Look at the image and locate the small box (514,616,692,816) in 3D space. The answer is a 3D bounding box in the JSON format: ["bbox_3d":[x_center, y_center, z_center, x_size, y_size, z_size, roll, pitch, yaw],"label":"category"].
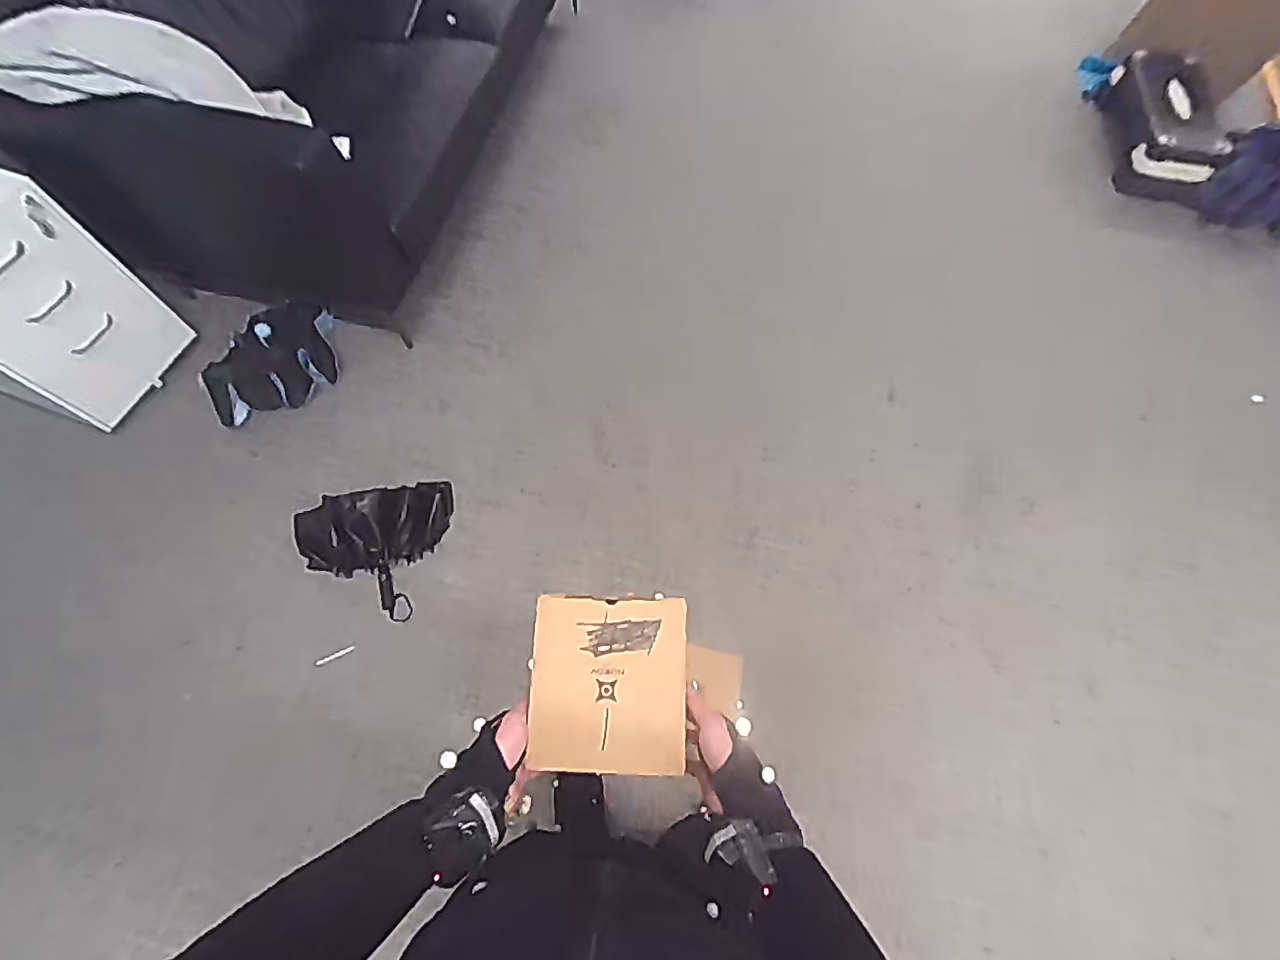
[{"bbox_3d":[-0.034,0.254,0.615,0.168,0.176,0.179,4,74,2],"label":"small box"}]

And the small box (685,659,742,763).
[{"bbox_3d":[0.110,0.481,1.144,0.168,0.176,0.179,11,65,3],"label":"small box"}]
